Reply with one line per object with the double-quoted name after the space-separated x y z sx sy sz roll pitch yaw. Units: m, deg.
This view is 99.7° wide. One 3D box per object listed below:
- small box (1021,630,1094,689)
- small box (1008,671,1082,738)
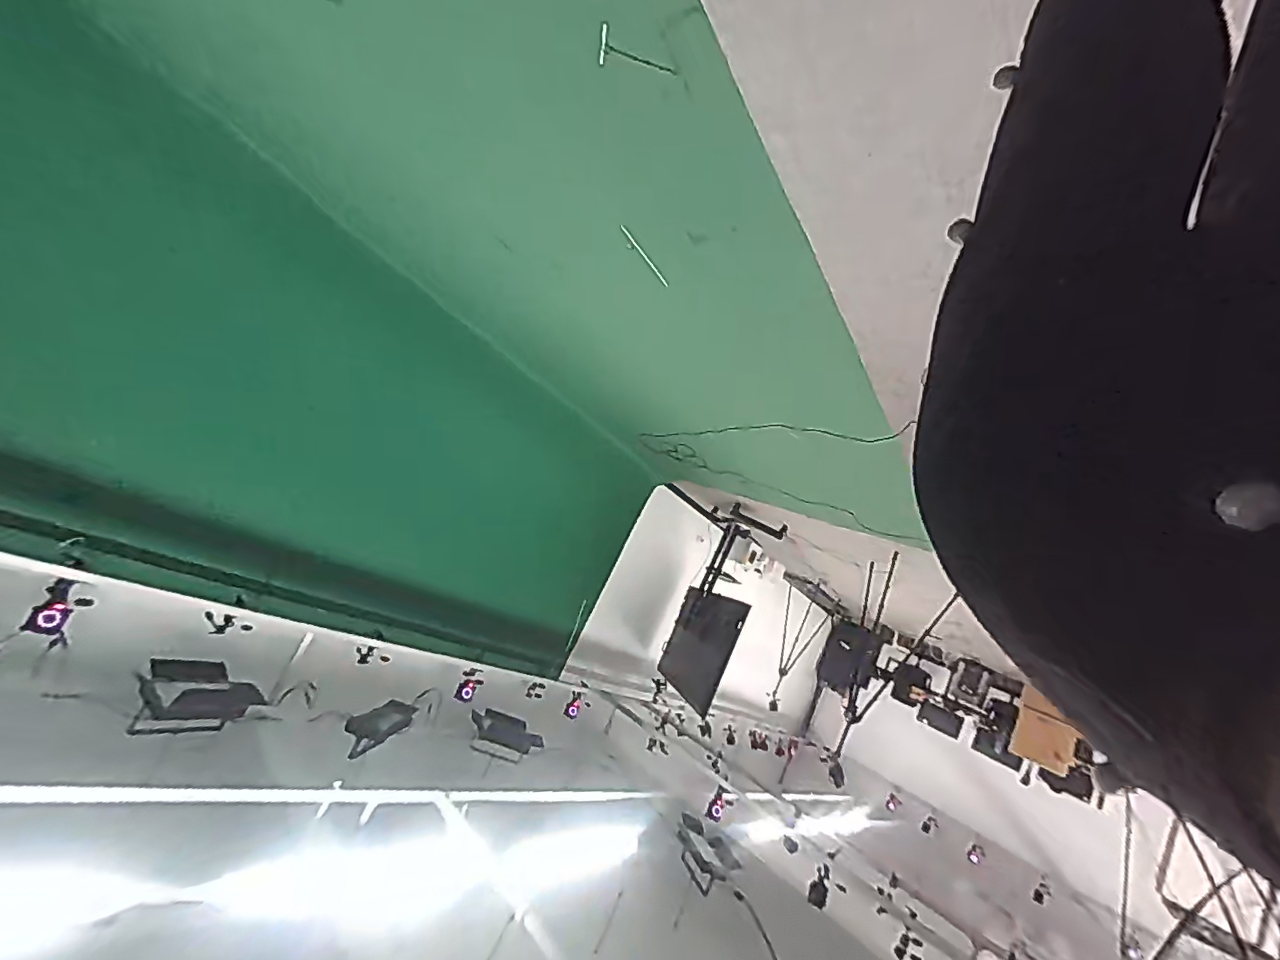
1.546 0.671 2.003 0.179 0.176 0.168 16 165 44 "small box"
1.465 0.807 1.959 0.179 0.176 0.168 17 166 41 "small box"
